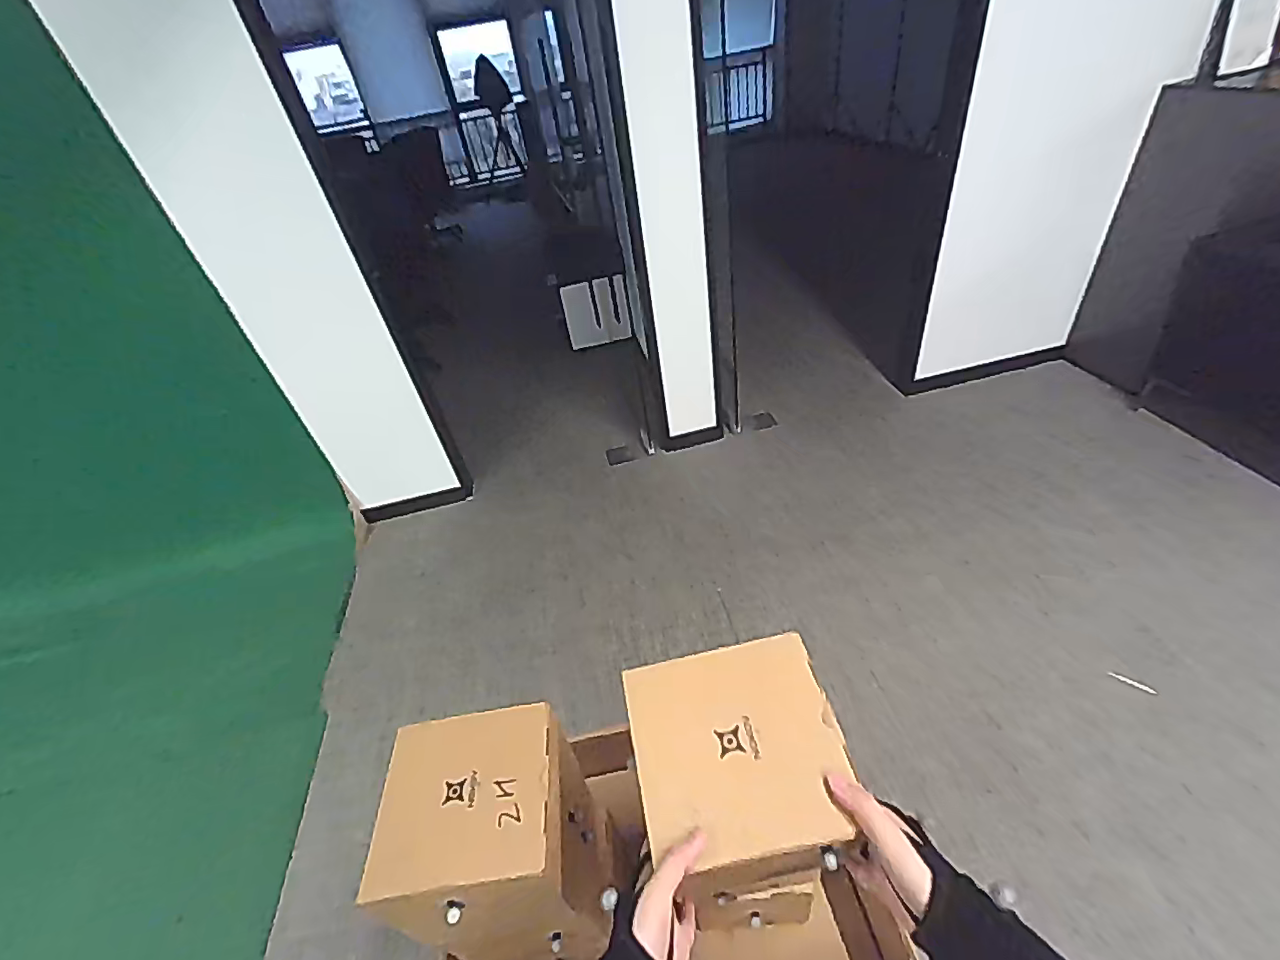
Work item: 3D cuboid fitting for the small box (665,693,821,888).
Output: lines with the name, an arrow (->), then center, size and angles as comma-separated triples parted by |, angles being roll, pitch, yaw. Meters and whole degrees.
small box -> 0.136, 0.424, 0.734 | 0.168, 0.176, 0.179 | -11, 39, 1

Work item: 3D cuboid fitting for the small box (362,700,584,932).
small box -> -0.167, 0.378, 0.608 | 0.179, 0.176, 0.168 | -10, 40, 1

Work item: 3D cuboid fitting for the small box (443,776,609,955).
small box -> -0.141, 0.497, 0.718 | 0.168, 0.176, 0.179 | -12, 39, -1
